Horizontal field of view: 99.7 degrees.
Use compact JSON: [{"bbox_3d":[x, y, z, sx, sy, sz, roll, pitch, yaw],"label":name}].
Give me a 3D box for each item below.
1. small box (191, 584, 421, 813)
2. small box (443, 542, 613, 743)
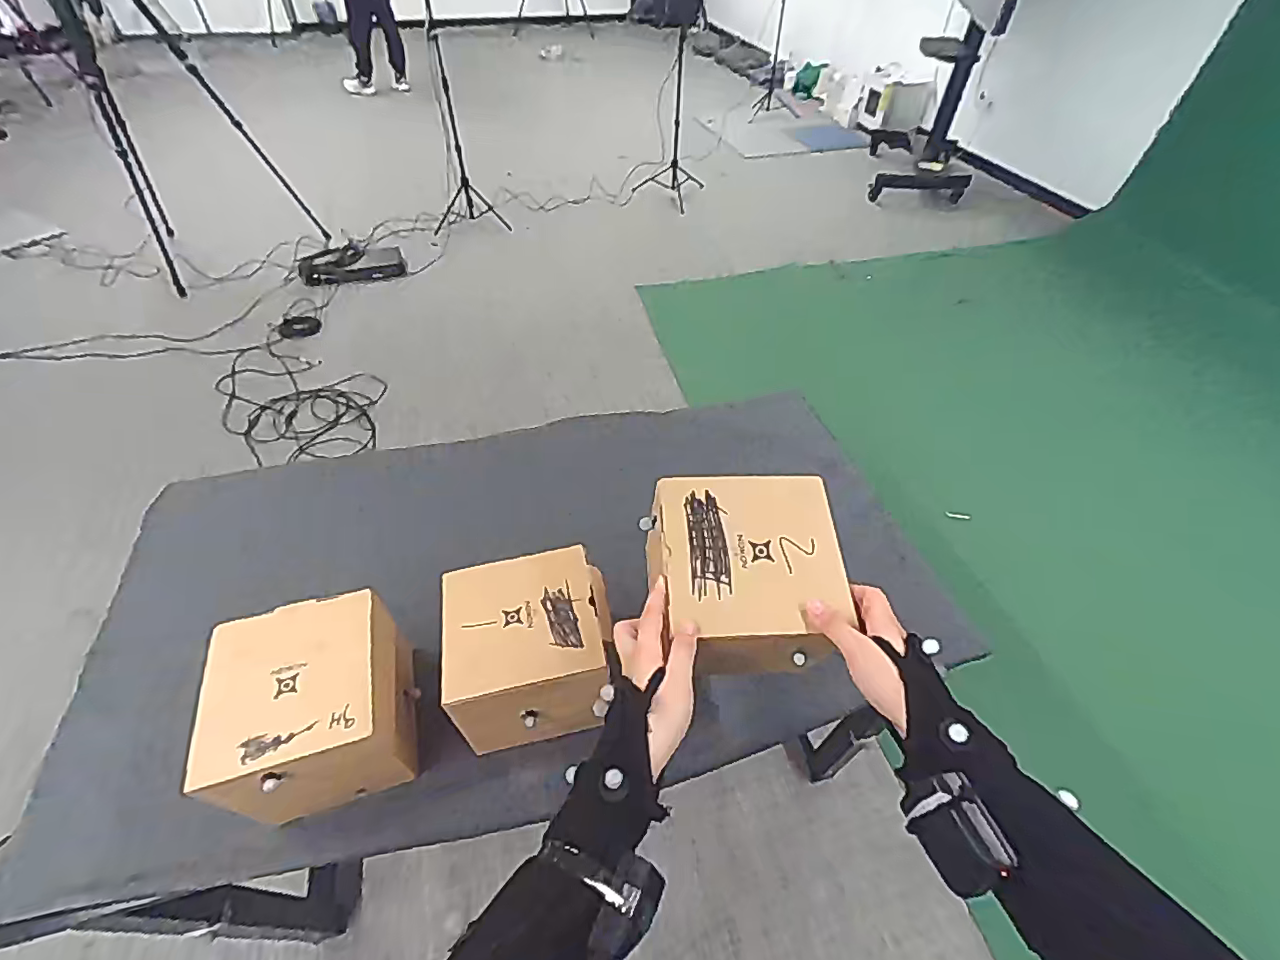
[{"bbox_3d":[-0.364,0.253,0.628,0.168,0.176,0.179,-13,51,-12],"label":"small box"},{"bbox_3d":[-0.131,0.204,0.672,0.179,0.176,0.168,-11,48,-7],"label":"small box"}]
